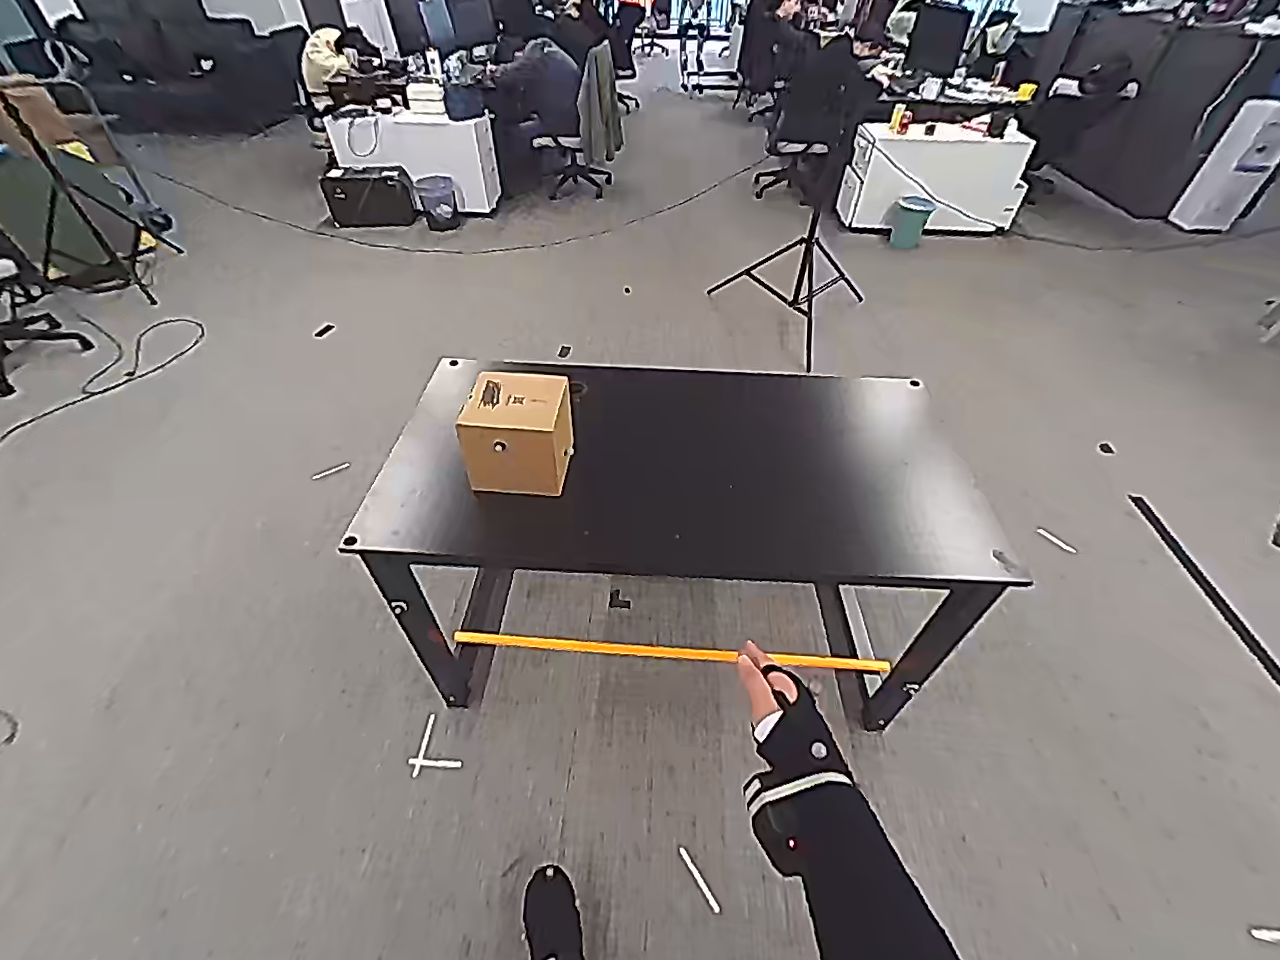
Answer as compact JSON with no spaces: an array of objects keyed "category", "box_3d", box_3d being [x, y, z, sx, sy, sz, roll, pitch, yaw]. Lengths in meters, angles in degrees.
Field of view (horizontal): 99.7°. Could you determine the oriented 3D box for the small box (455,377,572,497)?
[{"category":"small box","box_3d":[-0.235,-0.082,1.057,0.179,0.176,0.168,4,45,2]}]
